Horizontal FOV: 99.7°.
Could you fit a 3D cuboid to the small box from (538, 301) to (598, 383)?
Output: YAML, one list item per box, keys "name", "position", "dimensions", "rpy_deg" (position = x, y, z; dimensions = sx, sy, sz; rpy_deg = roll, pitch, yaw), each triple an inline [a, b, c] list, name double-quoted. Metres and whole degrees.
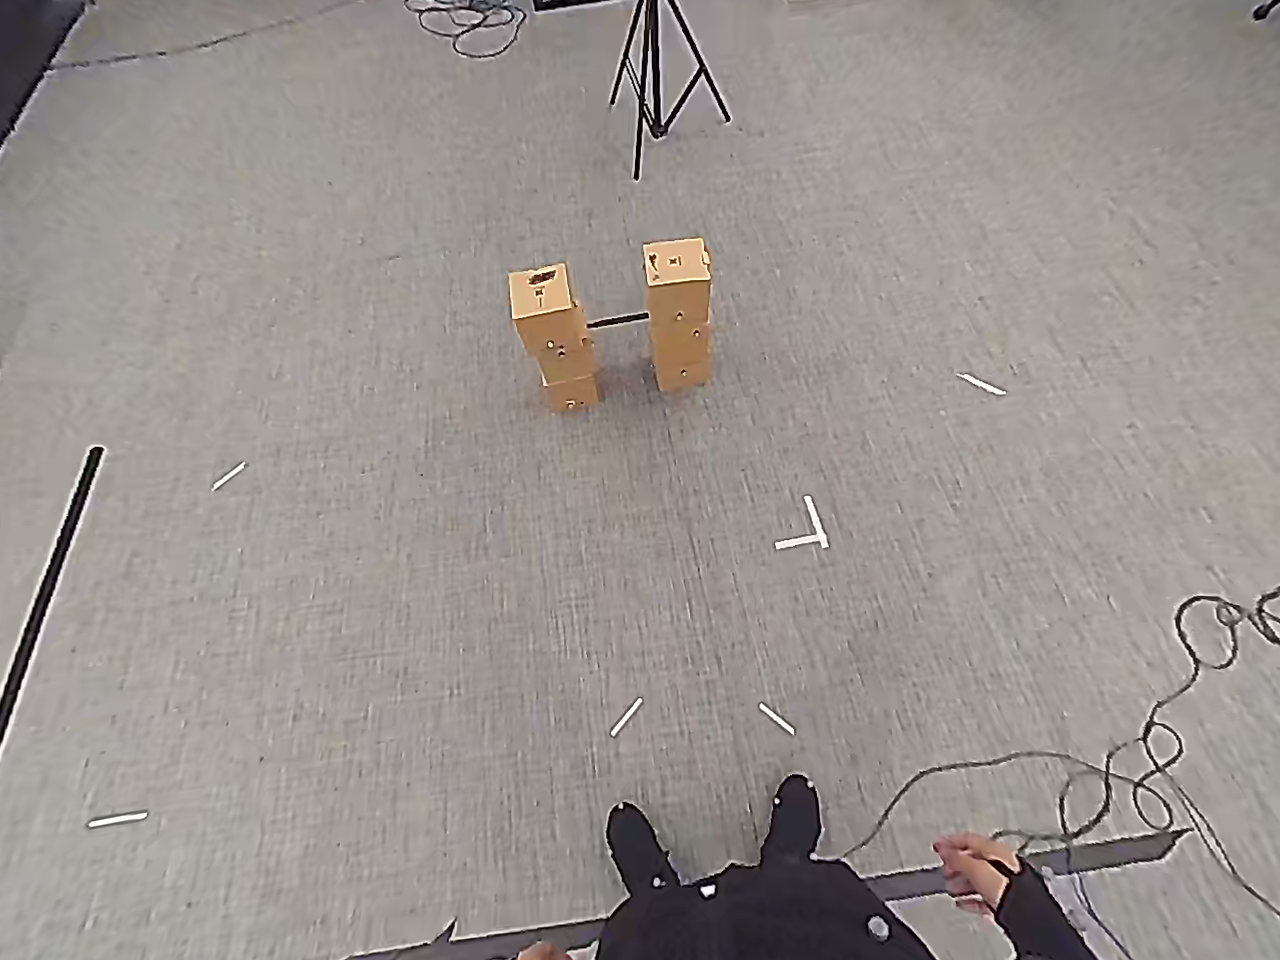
- name: "small box"
  position: [-0.242, -0.434, 1.724]
  dimensions: [0.179, 0.176, 0.168]
  rpy_deg: [-14, 63, -2]

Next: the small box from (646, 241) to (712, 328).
- name: "small box"
  position: [0.109, -0.566, 1.579]
  dimensions: [0.179, 0.176, 0.168]
  rpy_deg: [-5, 63, 1]

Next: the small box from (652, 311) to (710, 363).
- name: "small box"
  position: [0.127, -0.489, 1.723]
  dimensions: [0.179, 0.176, 0.168]
  rpy_deg: [-5, 63, 2]

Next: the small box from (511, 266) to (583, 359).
- name: "small box"
  position: [-0.266, -0.482, 1.567]
  dimensions: [0.168, 0.176, 0.179]
  rpy_deg: [-11, 64, 1]

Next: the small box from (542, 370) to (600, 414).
- name: "small box"
  position: [-0.241, -0.356, 1.869]
  dimensions: [0.168, 0.176, 0.179]
  rpy_deg: [-13, 64, -1]
